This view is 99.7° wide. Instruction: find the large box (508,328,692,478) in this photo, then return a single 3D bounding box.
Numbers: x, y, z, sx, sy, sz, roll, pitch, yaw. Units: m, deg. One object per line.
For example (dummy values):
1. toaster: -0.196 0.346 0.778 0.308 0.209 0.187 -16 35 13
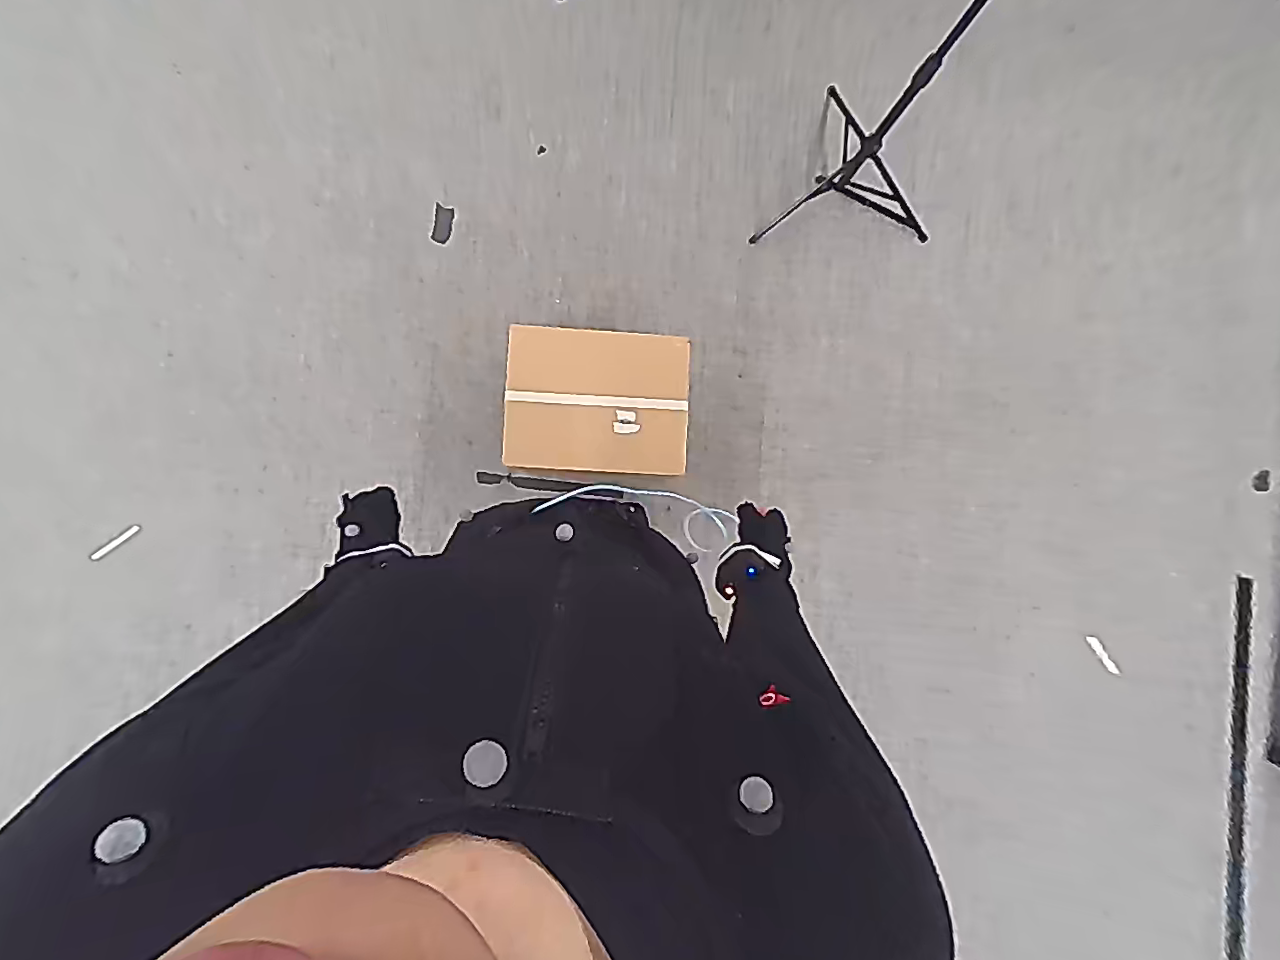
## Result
1. large box: -0.098 -0.170 1.350 0.408 0.320 0.320 3 88 -4
